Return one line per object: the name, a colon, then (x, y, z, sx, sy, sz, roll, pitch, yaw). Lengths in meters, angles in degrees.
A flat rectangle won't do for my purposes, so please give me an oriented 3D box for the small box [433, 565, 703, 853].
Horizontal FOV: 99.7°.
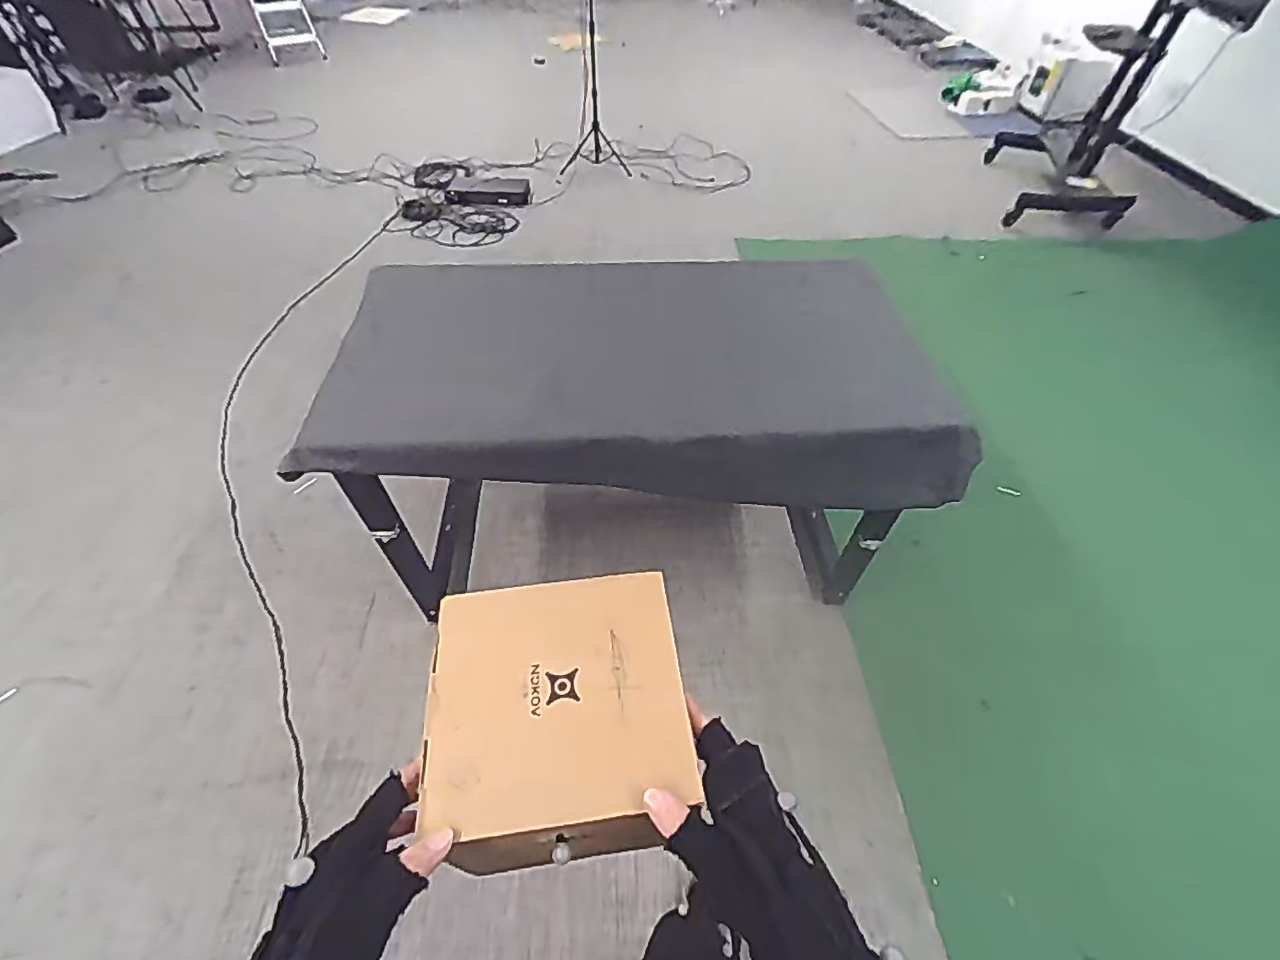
small box: (-0.055, 0.194, 0.454, 0.179, 0.176, 0.168, -6, 50, -7)
